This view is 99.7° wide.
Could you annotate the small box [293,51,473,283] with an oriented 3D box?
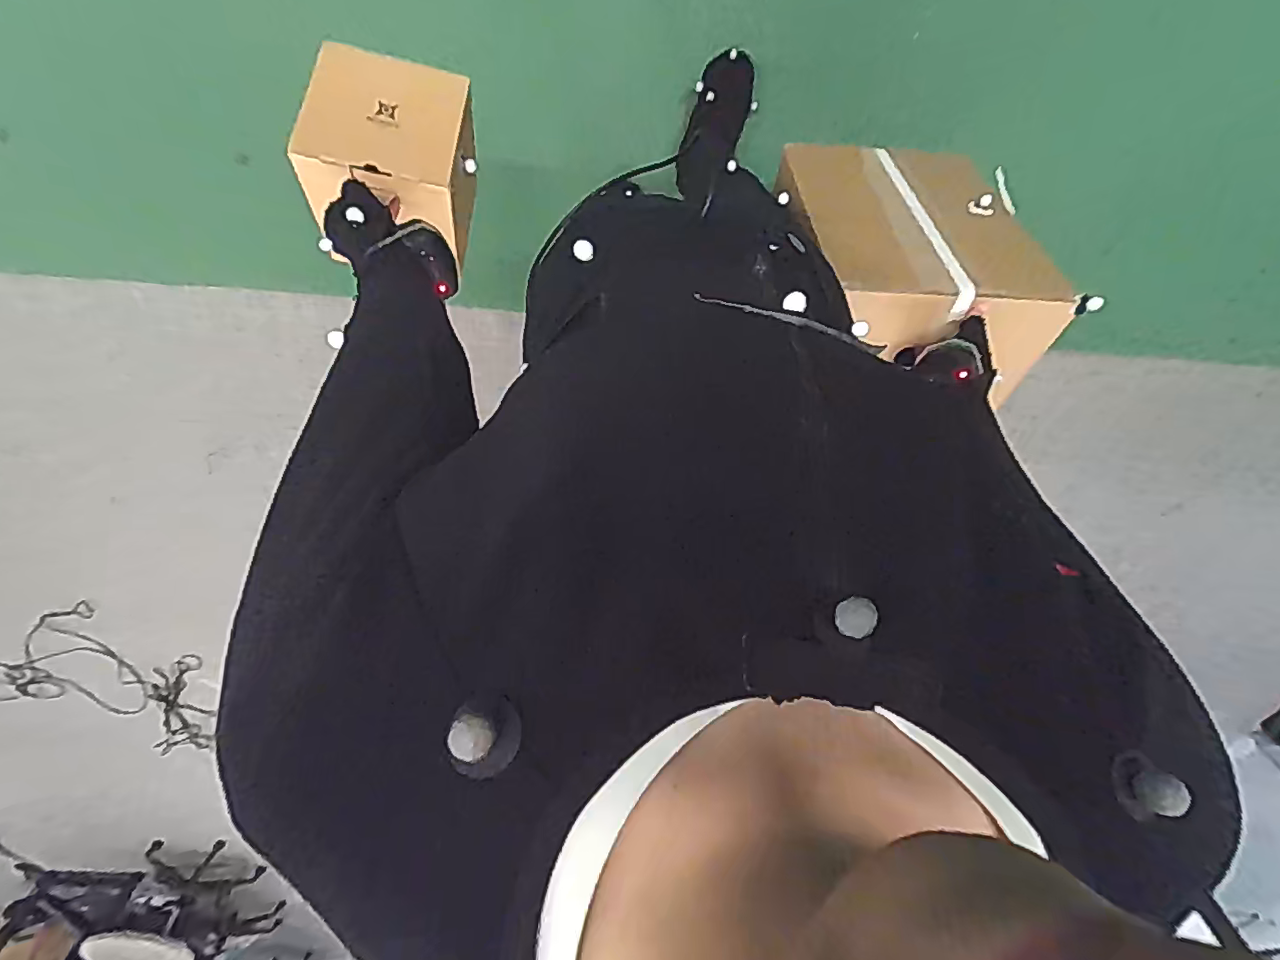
[{"bbox_3d":[-0.313,-0.391,0.700,0.168,0.179,0.176,6,161,-12],"label":"small box"}]
